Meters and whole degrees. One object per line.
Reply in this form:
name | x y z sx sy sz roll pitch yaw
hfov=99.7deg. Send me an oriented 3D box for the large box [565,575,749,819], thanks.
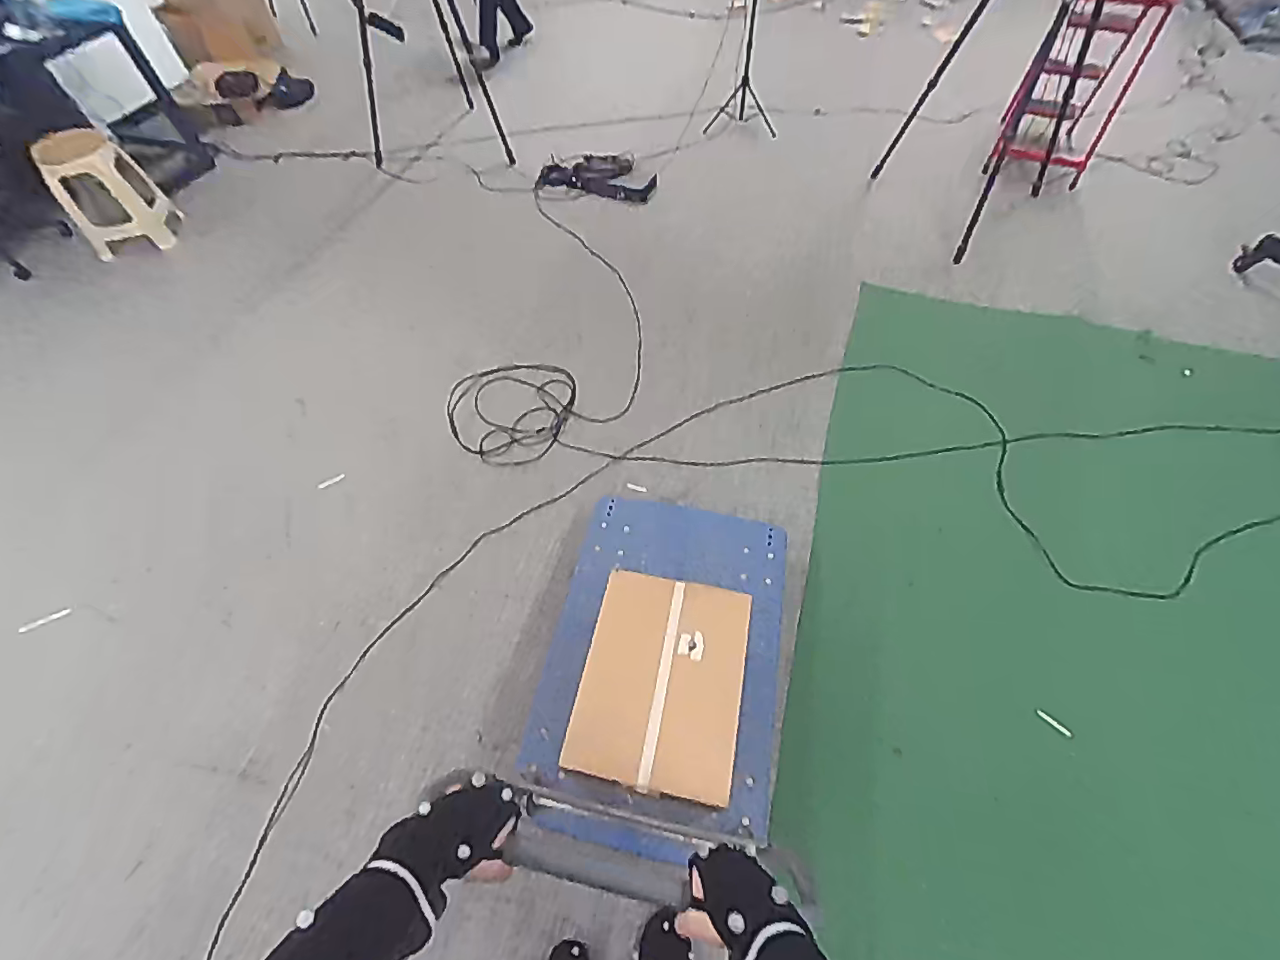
large box | 0.051 0.478 1.194 0.320 0.320 0.408 10 55 7
